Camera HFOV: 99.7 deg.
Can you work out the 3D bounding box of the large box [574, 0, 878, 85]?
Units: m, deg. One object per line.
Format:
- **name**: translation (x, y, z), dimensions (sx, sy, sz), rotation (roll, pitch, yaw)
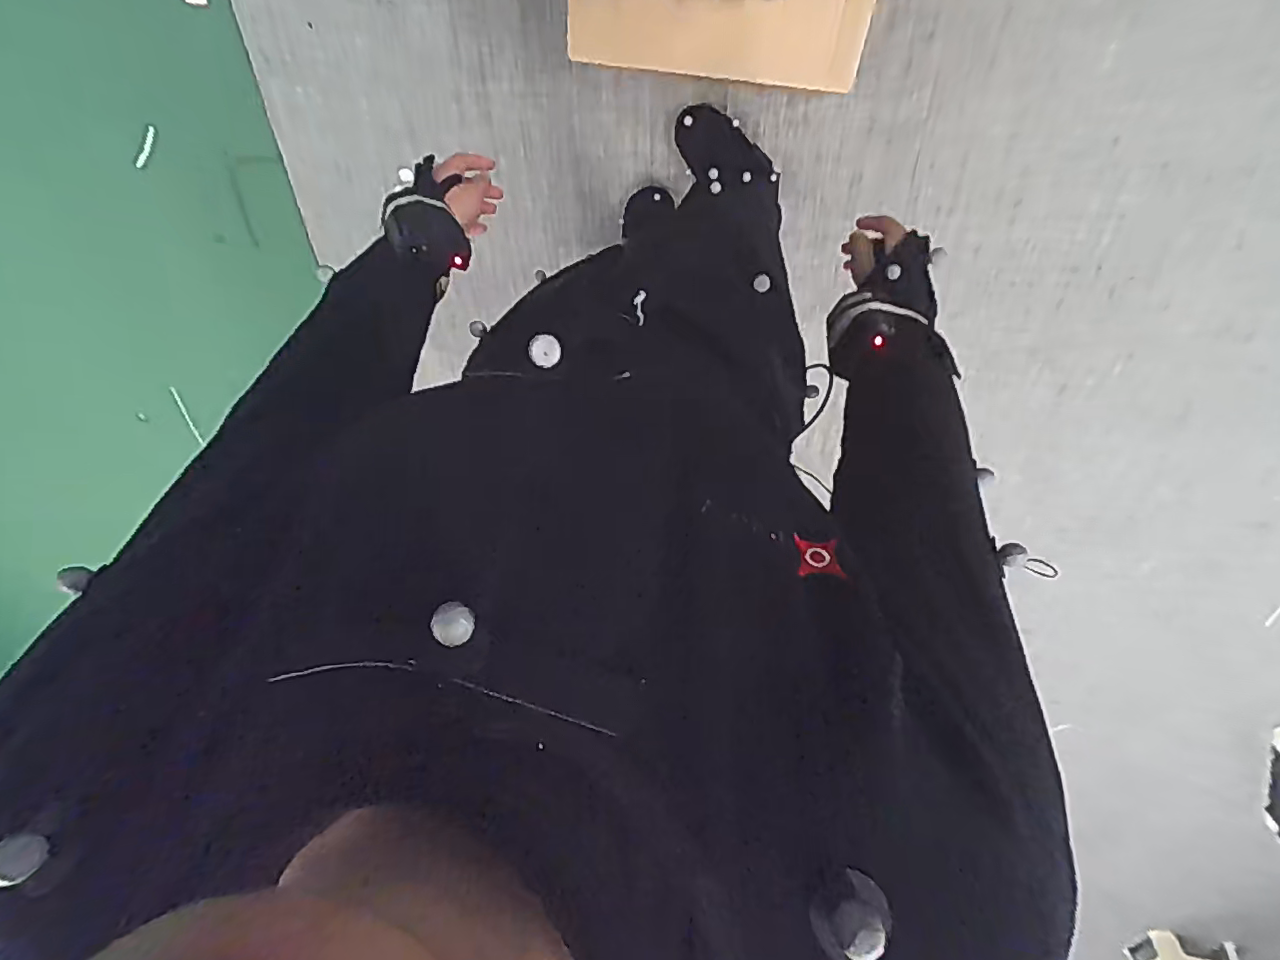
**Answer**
- **large box**: translation (0.133, -0.780, 0.781), dimensions (0.408, 0.320, 0.320), rotation (9, 127, 4)
